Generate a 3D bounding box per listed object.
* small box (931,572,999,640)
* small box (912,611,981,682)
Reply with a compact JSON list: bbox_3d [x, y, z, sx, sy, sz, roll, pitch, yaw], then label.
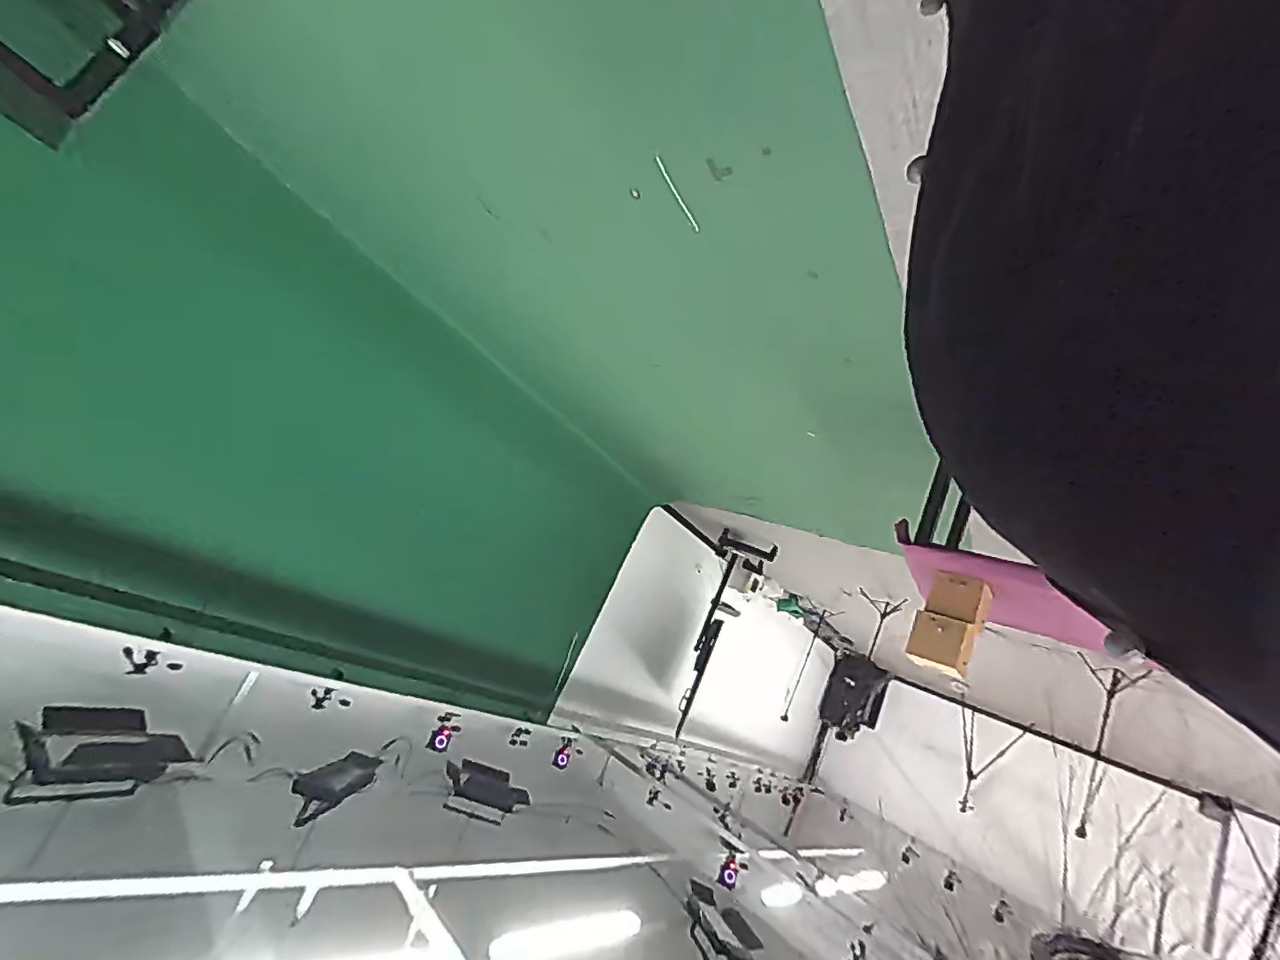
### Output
[{"bbox_3d":[1.176,0.451,1.951,0.168,0.176,0.179,10,160,44],"label":"small box"},{"bbox_3d":[1.090,0.587,1.914,0.168,0.176,0.179,10,159,44],"label":"small box"}]
